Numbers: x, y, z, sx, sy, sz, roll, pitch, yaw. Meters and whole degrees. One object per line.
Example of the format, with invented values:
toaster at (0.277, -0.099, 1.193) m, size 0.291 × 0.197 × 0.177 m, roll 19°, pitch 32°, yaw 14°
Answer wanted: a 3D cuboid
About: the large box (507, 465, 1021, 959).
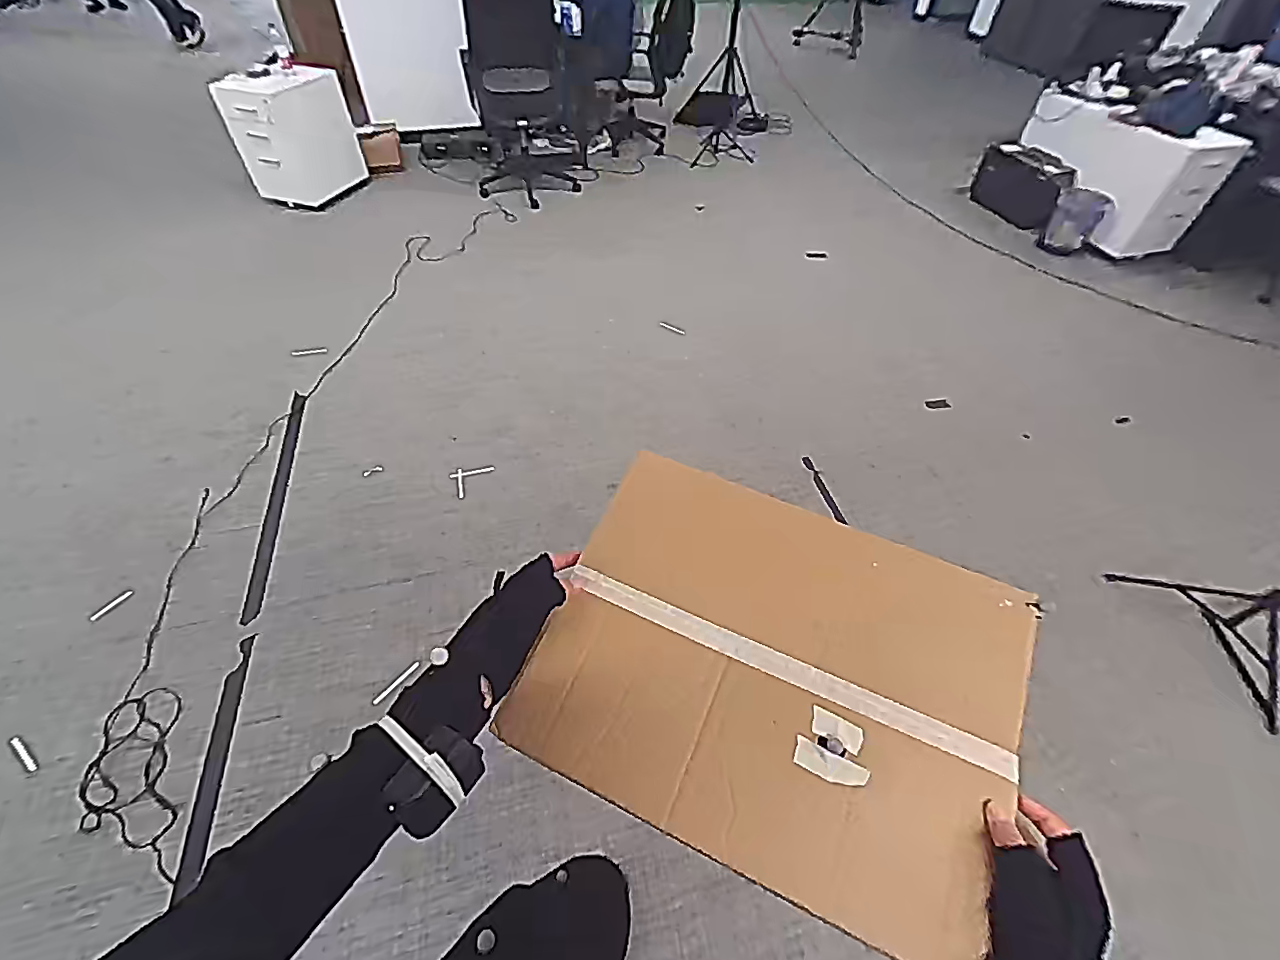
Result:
large box at (0.125, 0.242, 0.625) m, size 0.408 × 0.320 × 0.320 m, roll 22°, pitch 65°, yaw 14°
